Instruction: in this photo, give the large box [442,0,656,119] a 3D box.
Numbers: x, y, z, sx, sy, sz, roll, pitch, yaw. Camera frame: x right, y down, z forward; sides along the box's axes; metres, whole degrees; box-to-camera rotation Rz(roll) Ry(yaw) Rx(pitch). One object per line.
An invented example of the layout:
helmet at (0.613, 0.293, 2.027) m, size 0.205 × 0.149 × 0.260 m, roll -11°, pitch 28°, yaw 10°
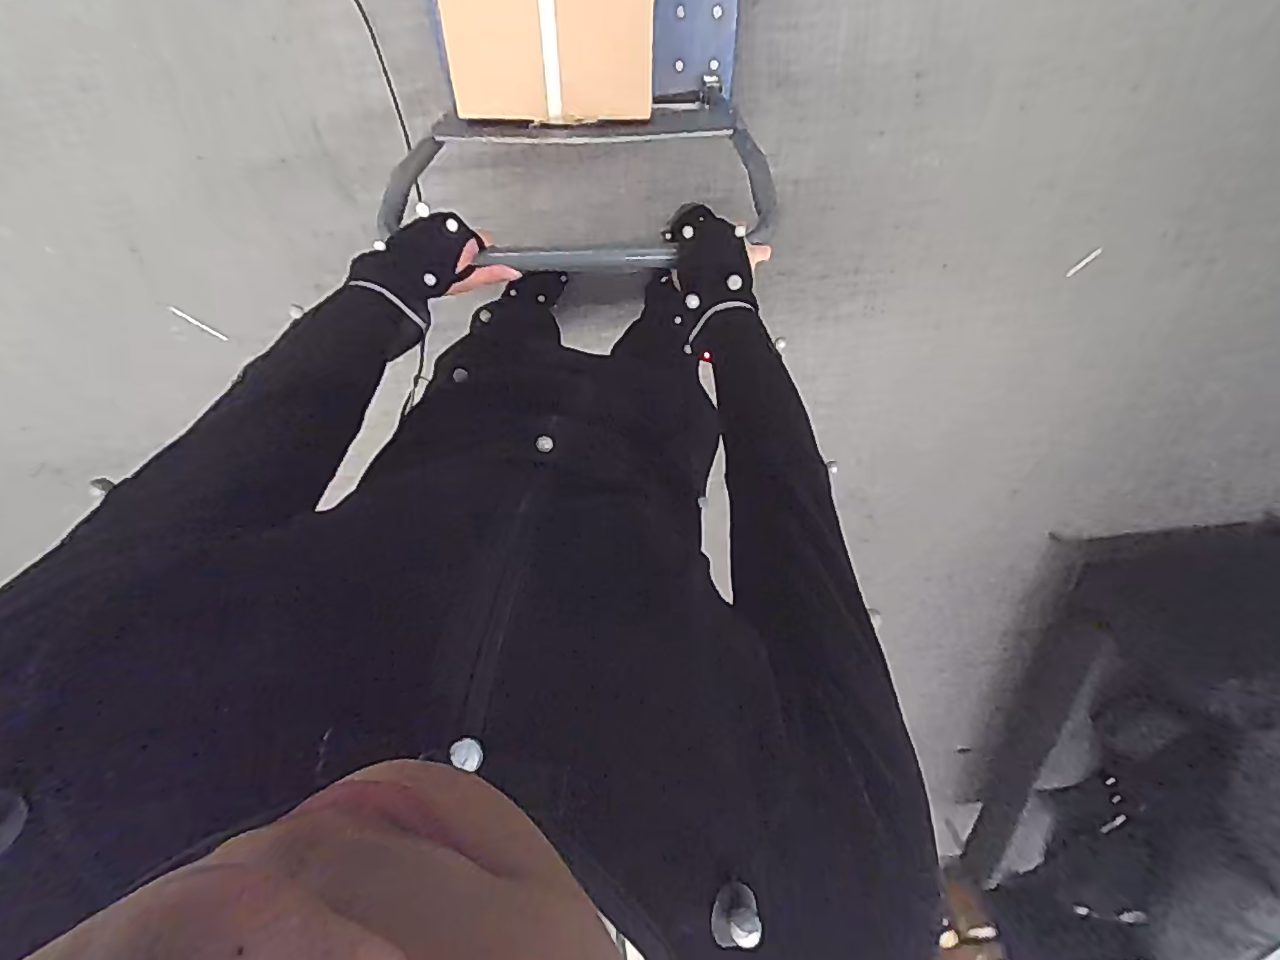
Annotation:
large box at (-0.134, -0.833, 0.859) m, size 0.320 × 0.320 × 0.408 m, roll -1°, pitch 130°, yaw -1°
